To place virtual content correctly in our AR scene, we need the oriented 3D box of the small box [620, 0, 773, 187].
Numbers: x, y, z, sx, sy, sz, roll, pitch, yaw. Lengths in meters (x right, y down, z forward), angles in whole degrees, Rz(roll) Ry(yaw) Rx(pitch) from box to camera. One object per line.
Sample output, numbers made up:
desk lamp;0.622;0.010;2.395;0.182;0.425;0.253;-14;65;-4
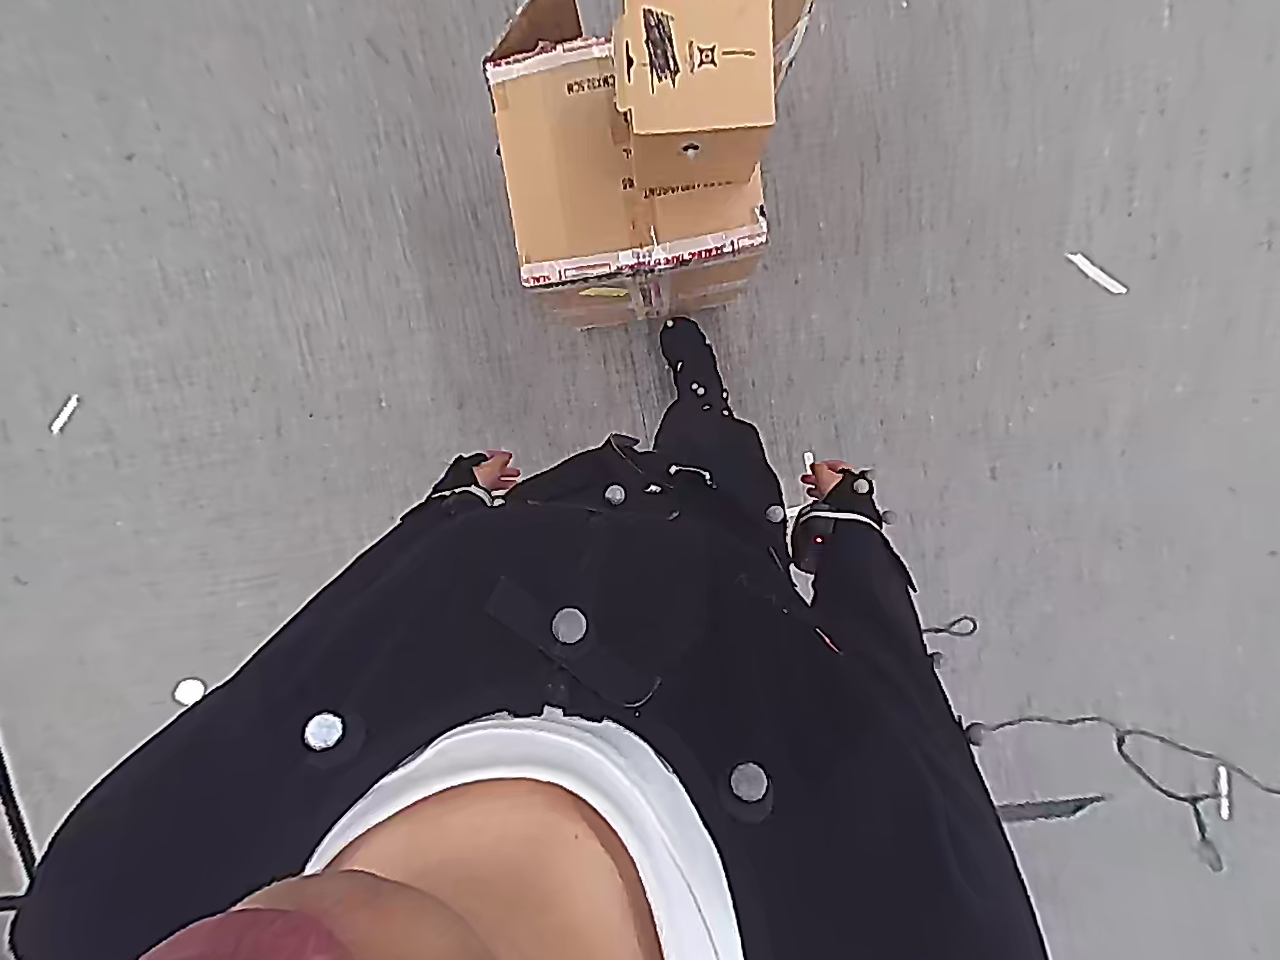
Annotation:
small box;0.070;-0.508;0.717;0.179;0.176;0.168;-4;98;1
